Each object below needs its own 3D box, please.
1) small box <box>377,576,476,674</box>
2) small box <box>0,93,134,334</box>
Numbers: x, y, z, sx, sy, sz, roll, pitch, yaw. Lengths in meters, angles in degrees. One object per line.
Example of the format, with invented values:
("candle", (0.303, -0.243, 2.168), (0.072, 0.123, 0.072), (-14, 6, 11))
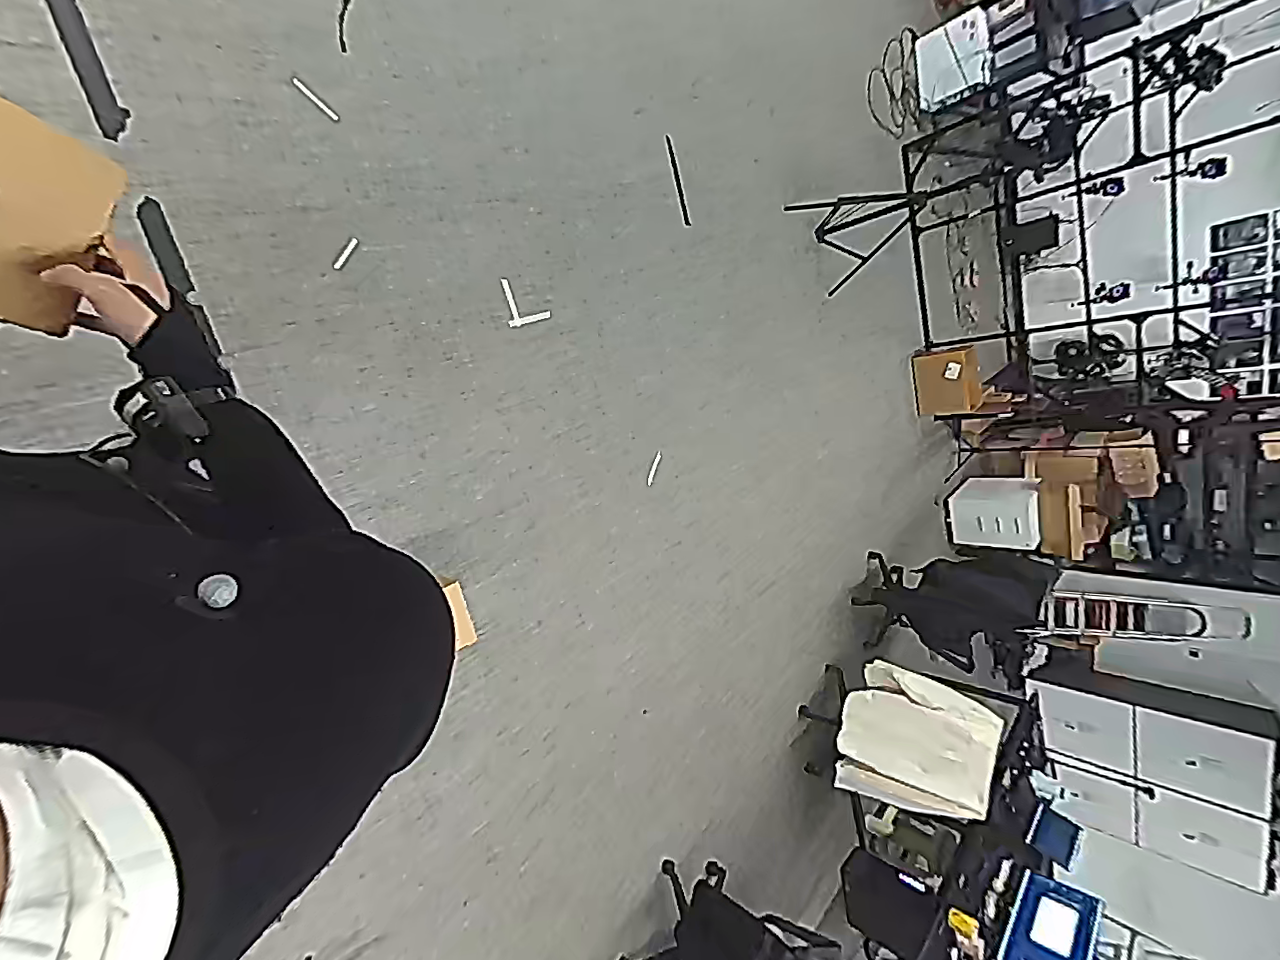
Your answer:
("small box", (-0.560, 0.371, 1.415), (0.168, 0.176, 0.179), (-24, 106, -39))
("small box", (-0.586, -0.239, 0.438), (0.179, 0.176, 0.168), (27, 80, -69))
